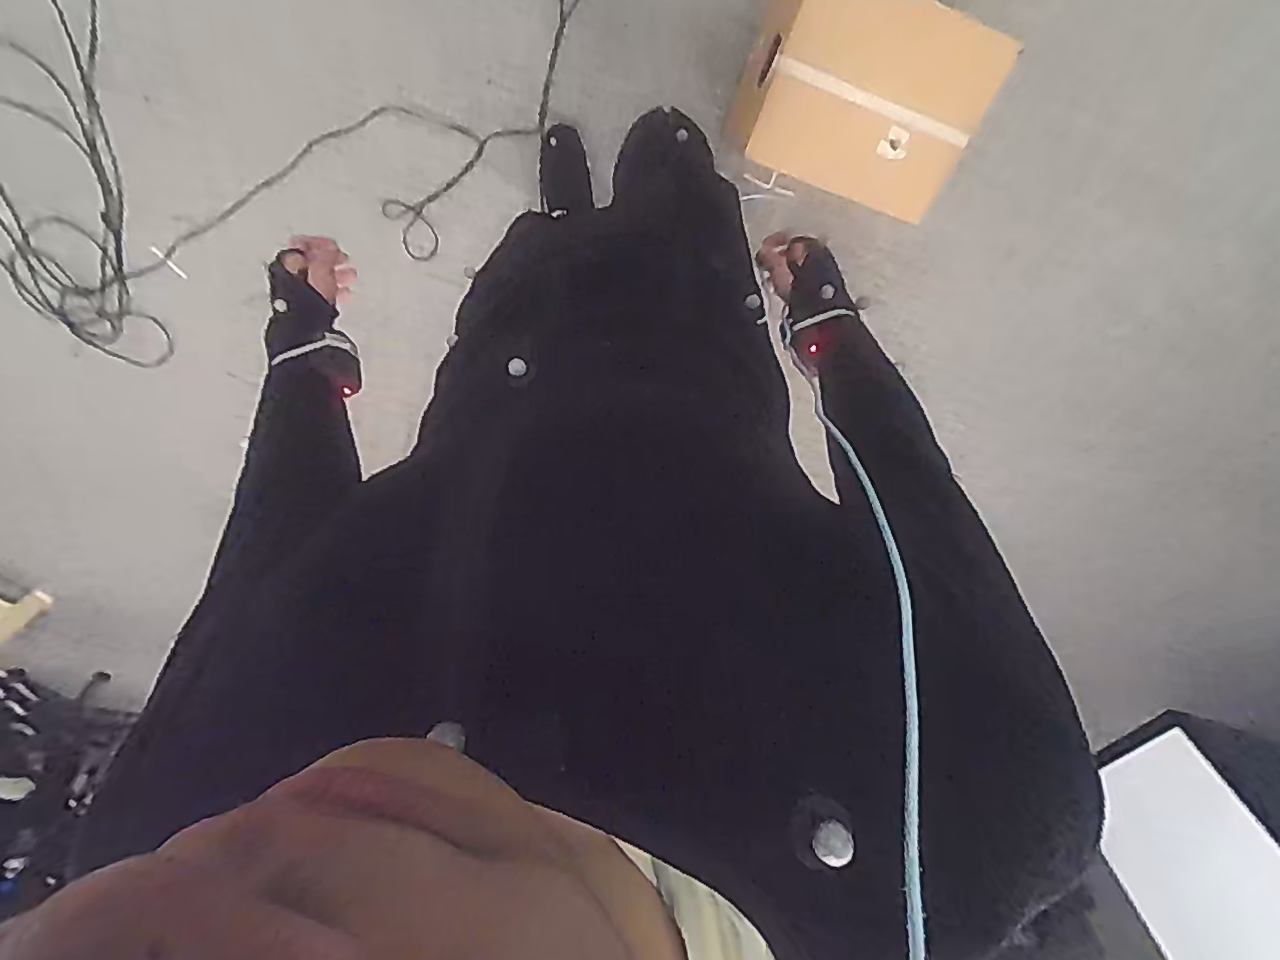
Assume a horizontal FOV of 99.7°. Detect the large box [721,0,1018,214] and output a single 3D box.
[{"bbox_3d":[0.423,-0.796,1.108,0.408,0.320,0.320,14,126,-12],"label":"large box"}]
